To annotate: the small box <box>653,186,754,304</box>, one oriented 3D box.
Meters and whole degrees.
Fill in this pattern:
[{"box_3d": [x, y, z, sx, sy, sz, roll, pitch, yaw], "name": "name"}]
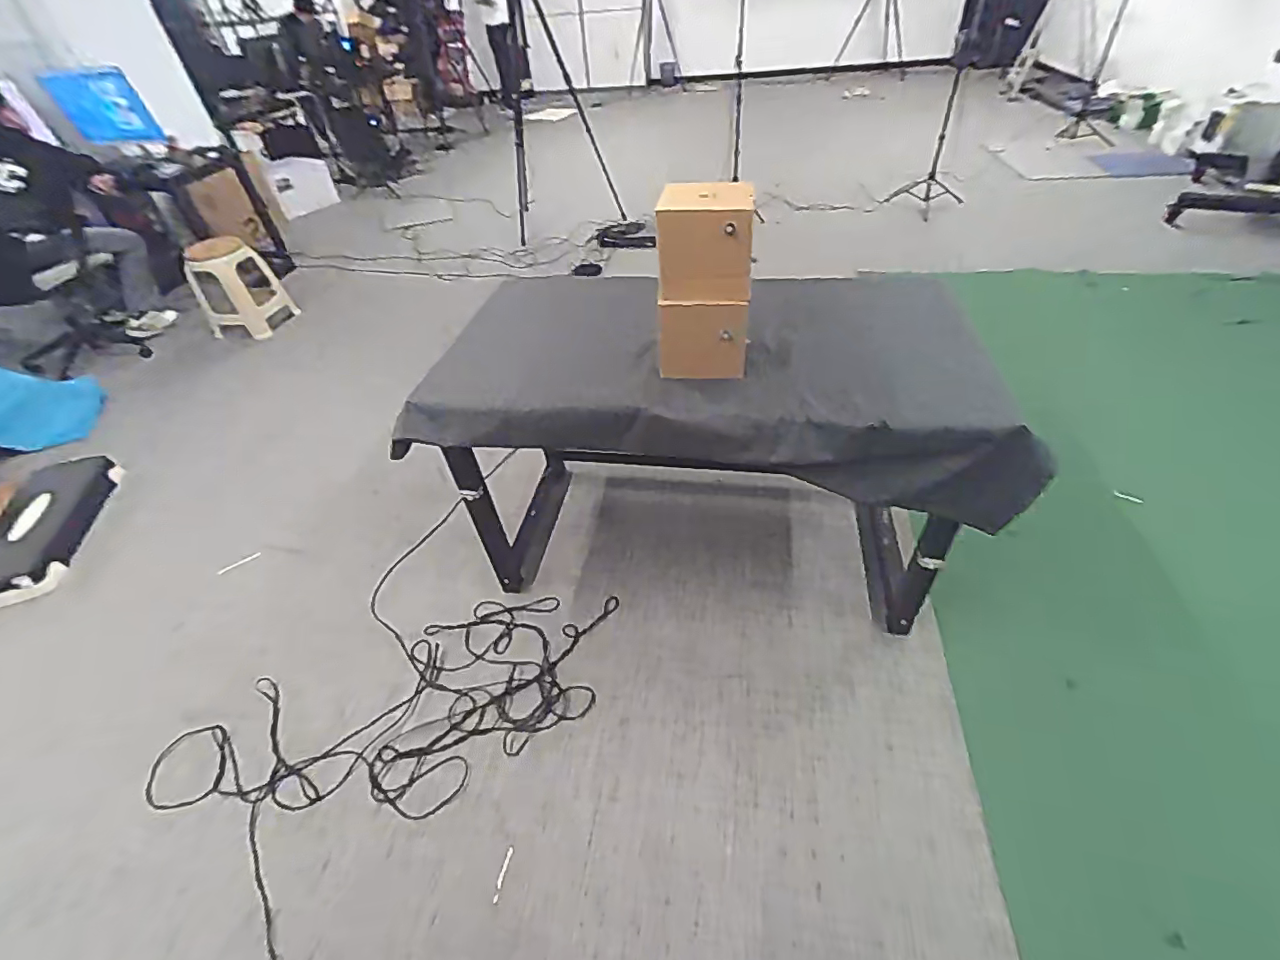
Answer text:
[{"box_3d": [0.126, -0.454, 1.047, 0.179, 0.176, 0.168, 4, 43, 9], "name": "small box"}]
